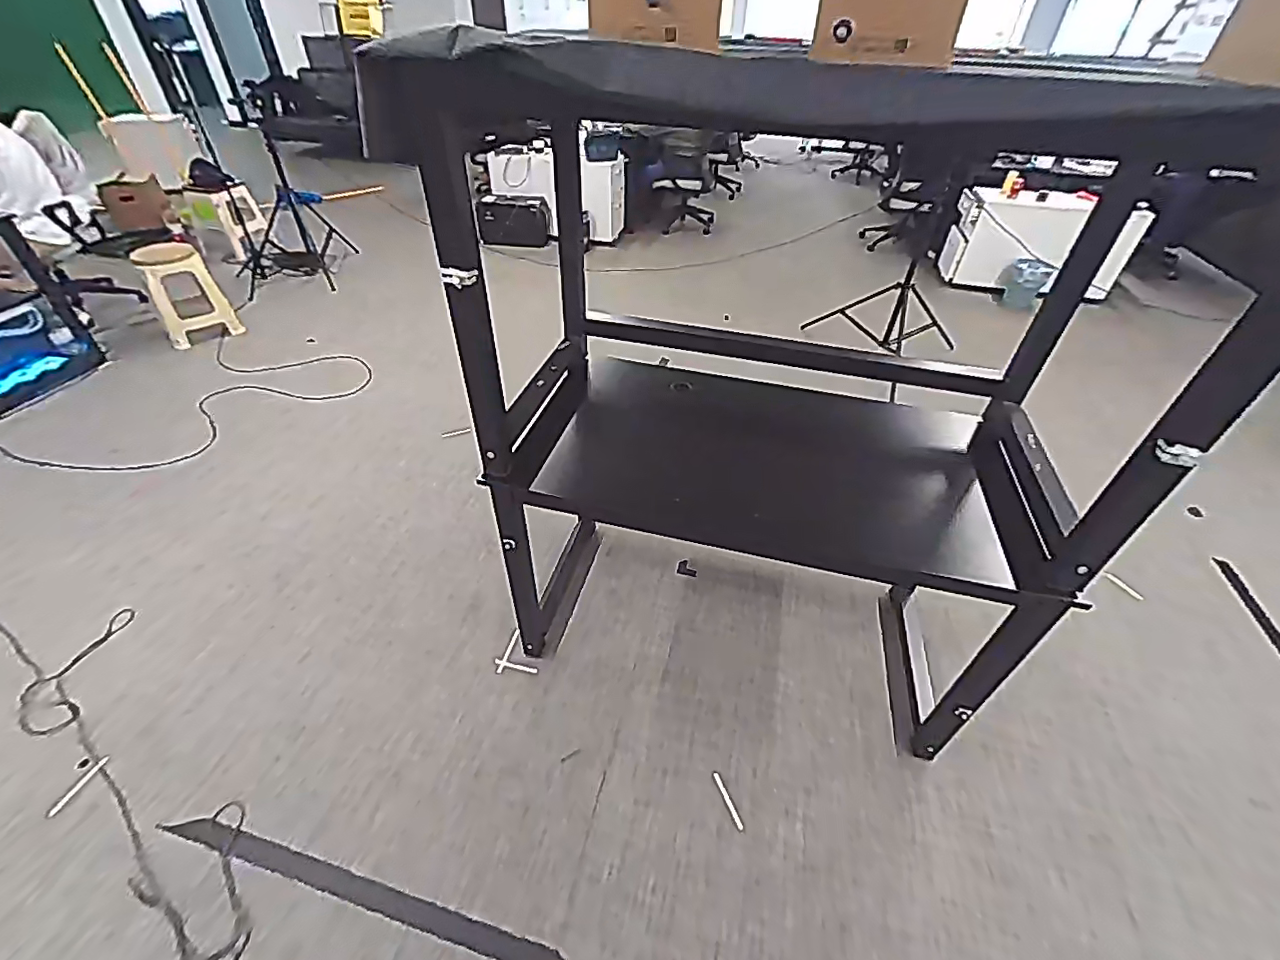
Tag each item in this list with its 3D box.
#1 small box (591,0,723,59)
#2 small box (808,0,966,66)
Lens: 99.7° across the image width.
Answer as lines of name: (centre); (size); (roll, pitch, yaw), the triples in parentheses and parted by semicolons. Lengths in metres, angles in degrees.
small box: (0.029, -0.659, 0.699); (0.168, 0.176, 0.179); (5, 40, 4)
small box: (0.310, -0.621, 0.668); (0.168, 0.176, 0.179); (10, 40, 9)
